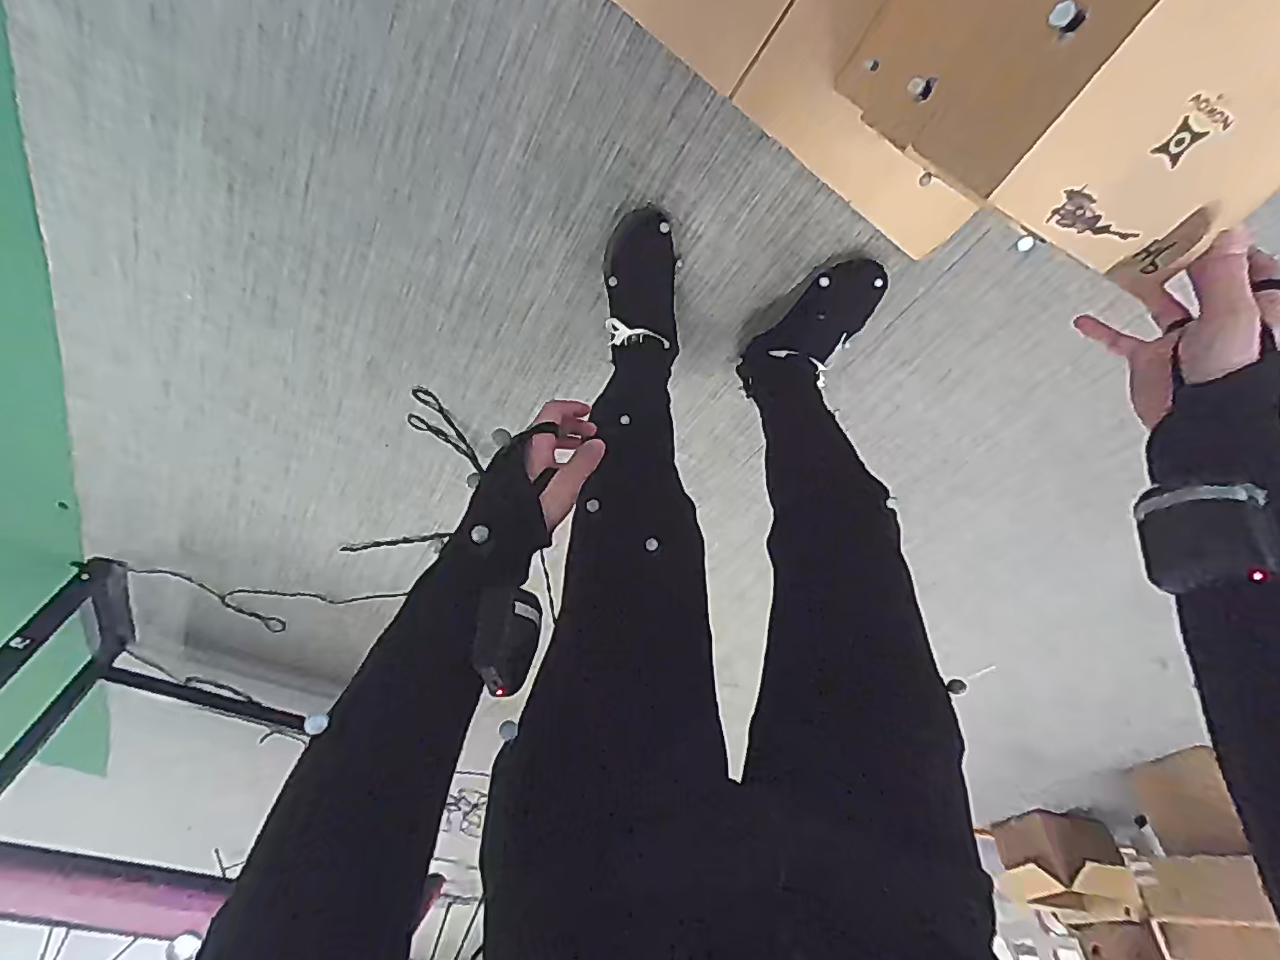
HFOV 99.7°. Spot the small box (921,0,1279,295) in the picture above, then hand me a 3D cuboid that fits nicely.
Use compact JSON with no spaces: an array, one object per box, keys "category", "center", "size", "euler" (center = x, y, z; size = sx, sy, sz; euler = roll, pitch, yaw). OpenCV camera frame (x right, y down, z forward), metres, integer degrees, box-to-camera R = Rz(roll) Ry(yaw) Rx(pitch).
[{"category":"small box","center":[0.348,-0.277,0.395],"size":[0.168,0.176,0.179],"euler":[21,130,-14]}]

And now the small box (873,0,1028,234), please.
[{"category":"small box","center":[0.353,-0.382,0.521],"size":[0.168,0.176,0.179],"euler":[22,131,-16]}]
